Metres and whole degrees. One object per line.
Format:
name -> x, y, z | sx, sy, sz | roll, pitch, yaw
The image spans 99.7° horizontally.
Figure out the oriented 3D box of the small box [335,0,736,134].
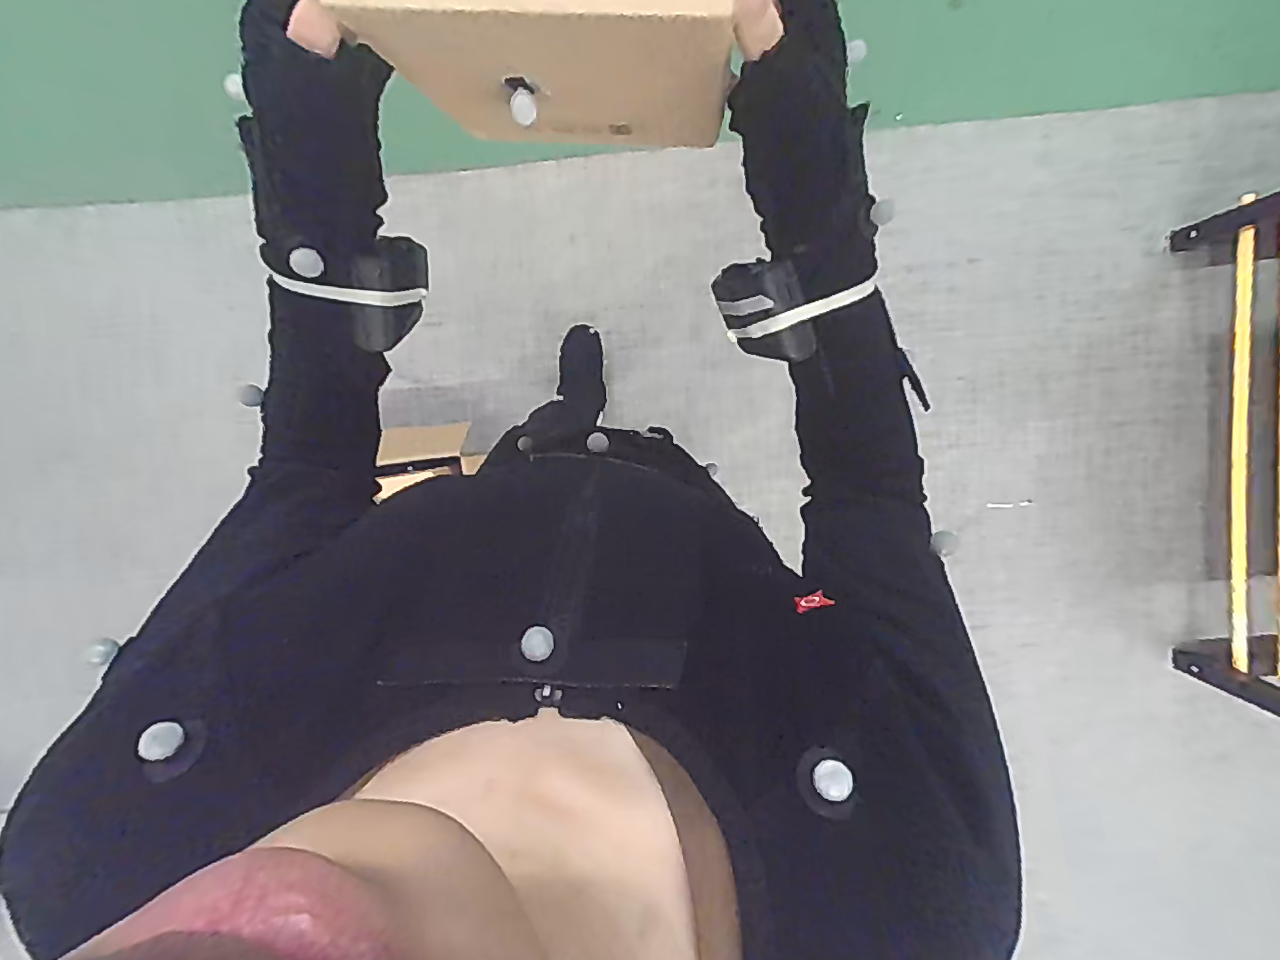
small box -> -0.031, -0.289, 0.259 | 0.168, 0.176, 0.179 | 5, 106, 3
